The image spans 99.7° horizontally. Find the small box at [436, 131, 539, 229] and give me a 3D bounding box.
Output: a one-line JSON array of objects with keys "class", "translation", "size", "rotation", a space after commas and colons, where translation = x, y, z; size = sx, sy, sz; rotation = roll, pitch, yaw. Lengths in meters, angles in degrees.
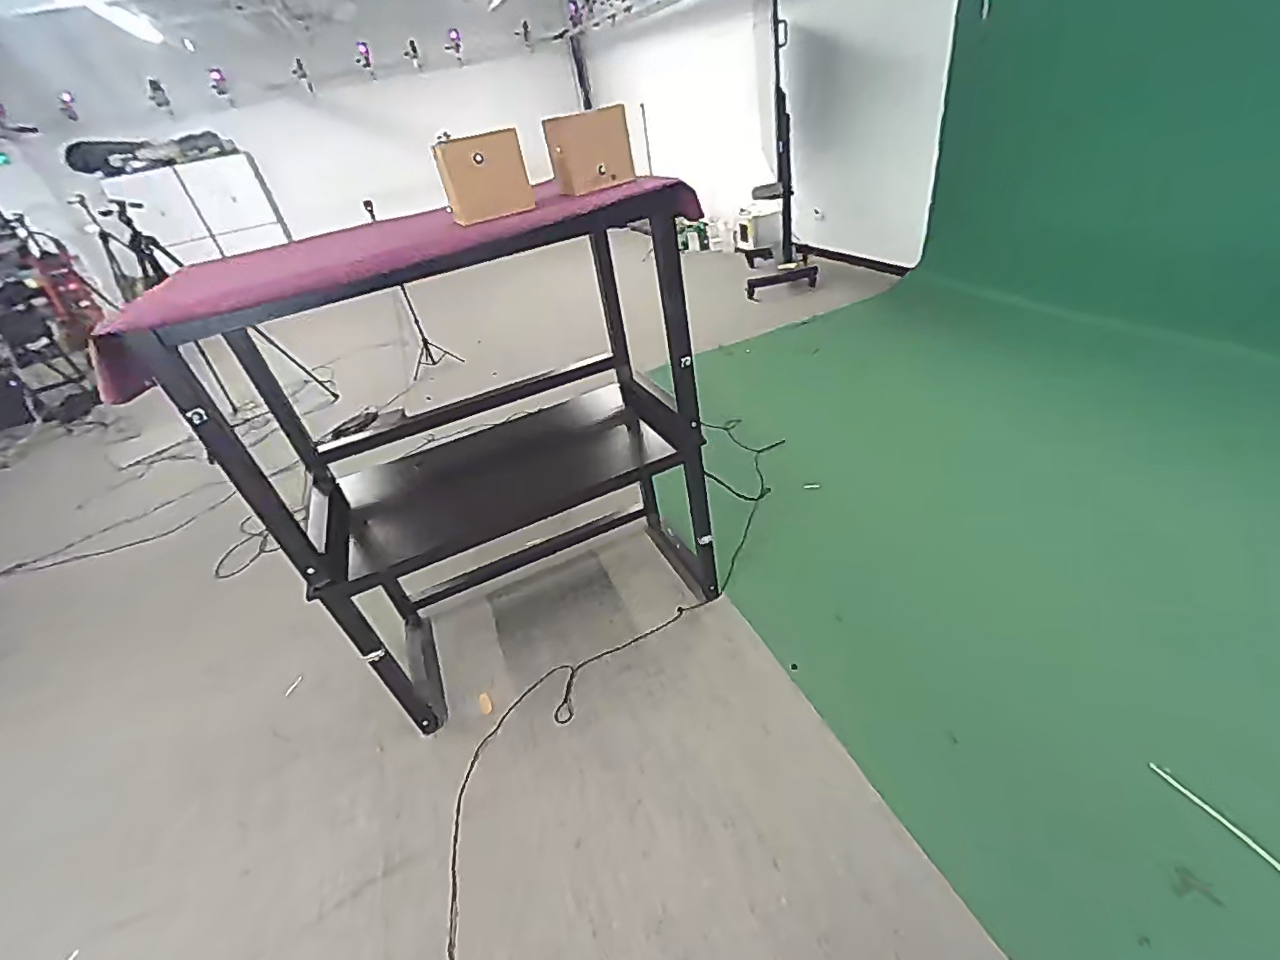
[{"class": "small box", "translation": [-0.359, -0.705, 1.277], "size": [0.179, 0.176, 0.168], "rotation": [-21, 35, -14]}]
